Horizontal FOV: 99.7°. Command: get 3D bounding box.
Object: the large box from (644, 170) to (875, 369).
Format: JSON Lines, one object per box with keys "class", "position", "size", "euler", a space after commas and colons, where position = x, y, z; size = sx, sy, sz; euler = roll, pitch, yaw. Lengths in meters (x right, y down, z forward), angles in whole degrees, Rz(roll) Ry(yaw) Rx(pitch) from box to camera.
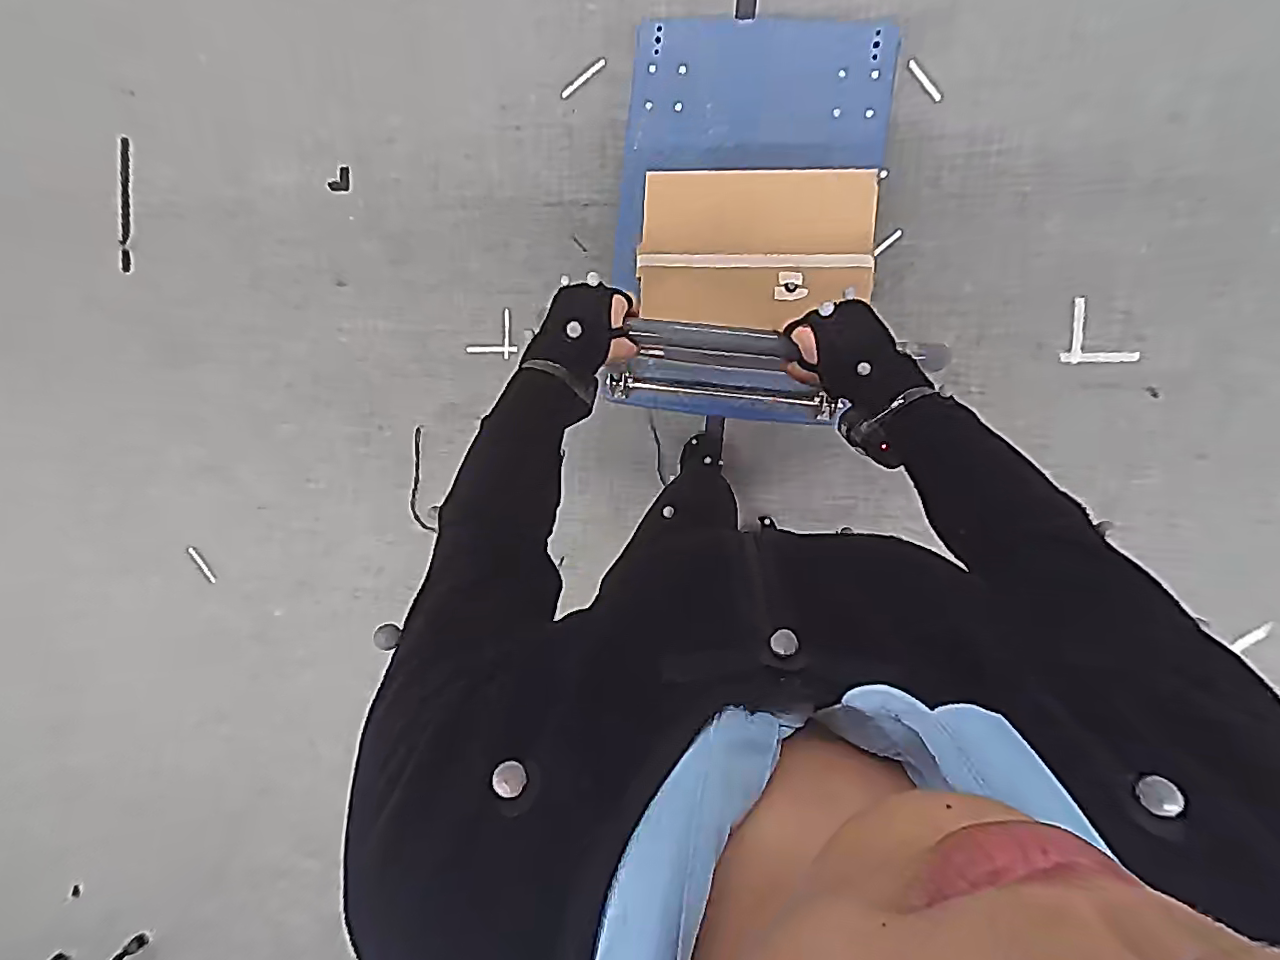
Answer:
{"class": "large box", "position": [0.224, -0.407, 1.122], "size": [0.408, 0.320, 0.320], "euler": [3, 95, 6]}
